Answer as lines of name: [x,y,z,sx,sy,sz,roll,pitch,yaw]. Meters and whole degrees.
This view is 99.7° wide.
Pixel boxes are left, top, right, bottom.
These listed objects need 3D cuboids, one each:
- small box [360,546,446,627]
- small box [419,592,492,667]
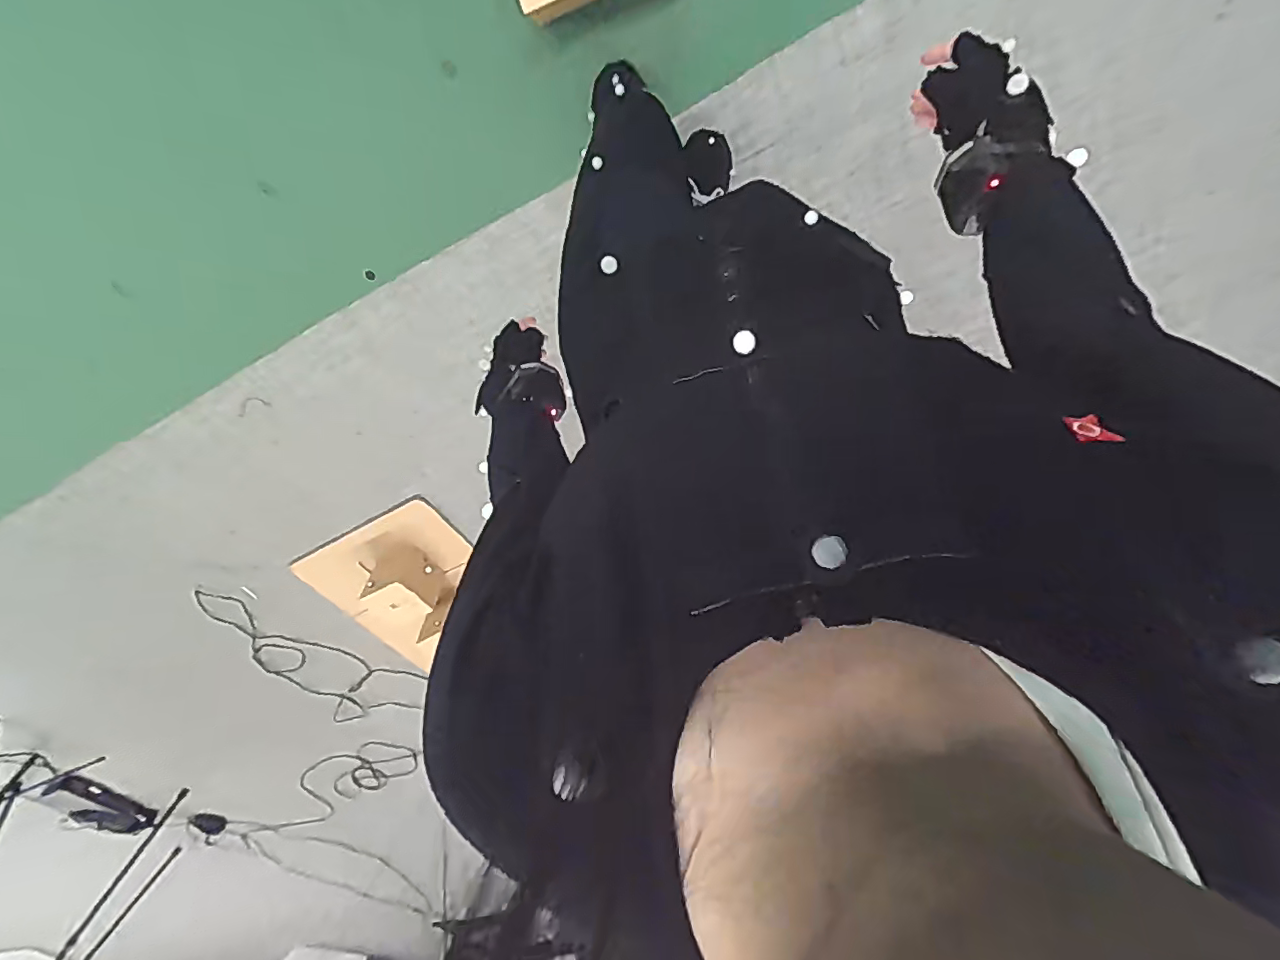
small box: [-0.781,0.354,1.804,0.179,0.176,0.168,-26,123,15]
small box: [-0.648,0.529,1.927,0.179,0.176,0.168,-30,121,19]
